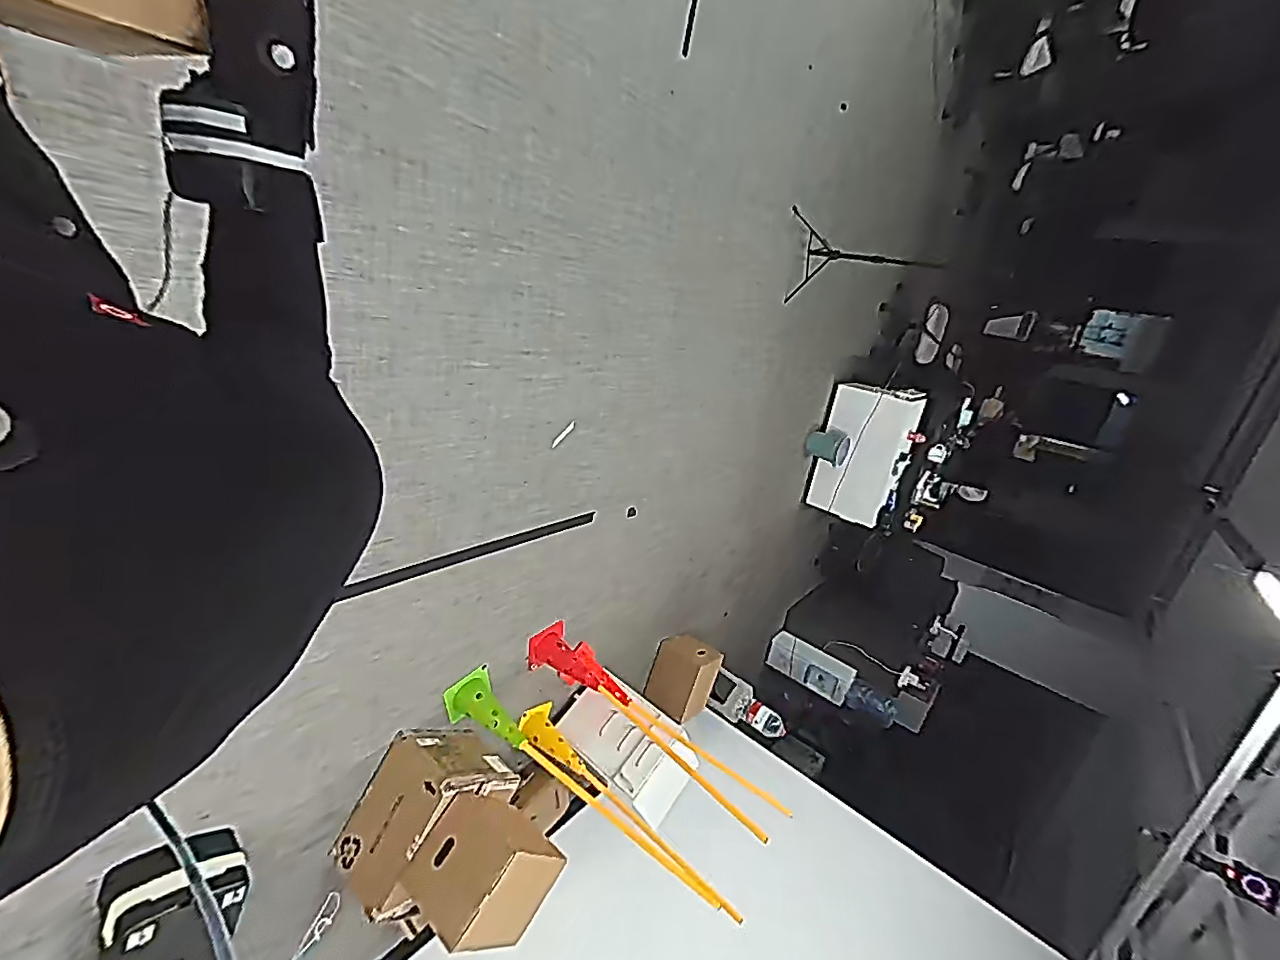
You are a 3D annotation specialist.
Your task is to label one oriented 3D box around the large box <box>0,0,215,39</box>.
[{"bbox_3d":[-0.490,-0.457,0.231,0.408,0.320,0.320,-16,128,-50],"label":"large box"}]
